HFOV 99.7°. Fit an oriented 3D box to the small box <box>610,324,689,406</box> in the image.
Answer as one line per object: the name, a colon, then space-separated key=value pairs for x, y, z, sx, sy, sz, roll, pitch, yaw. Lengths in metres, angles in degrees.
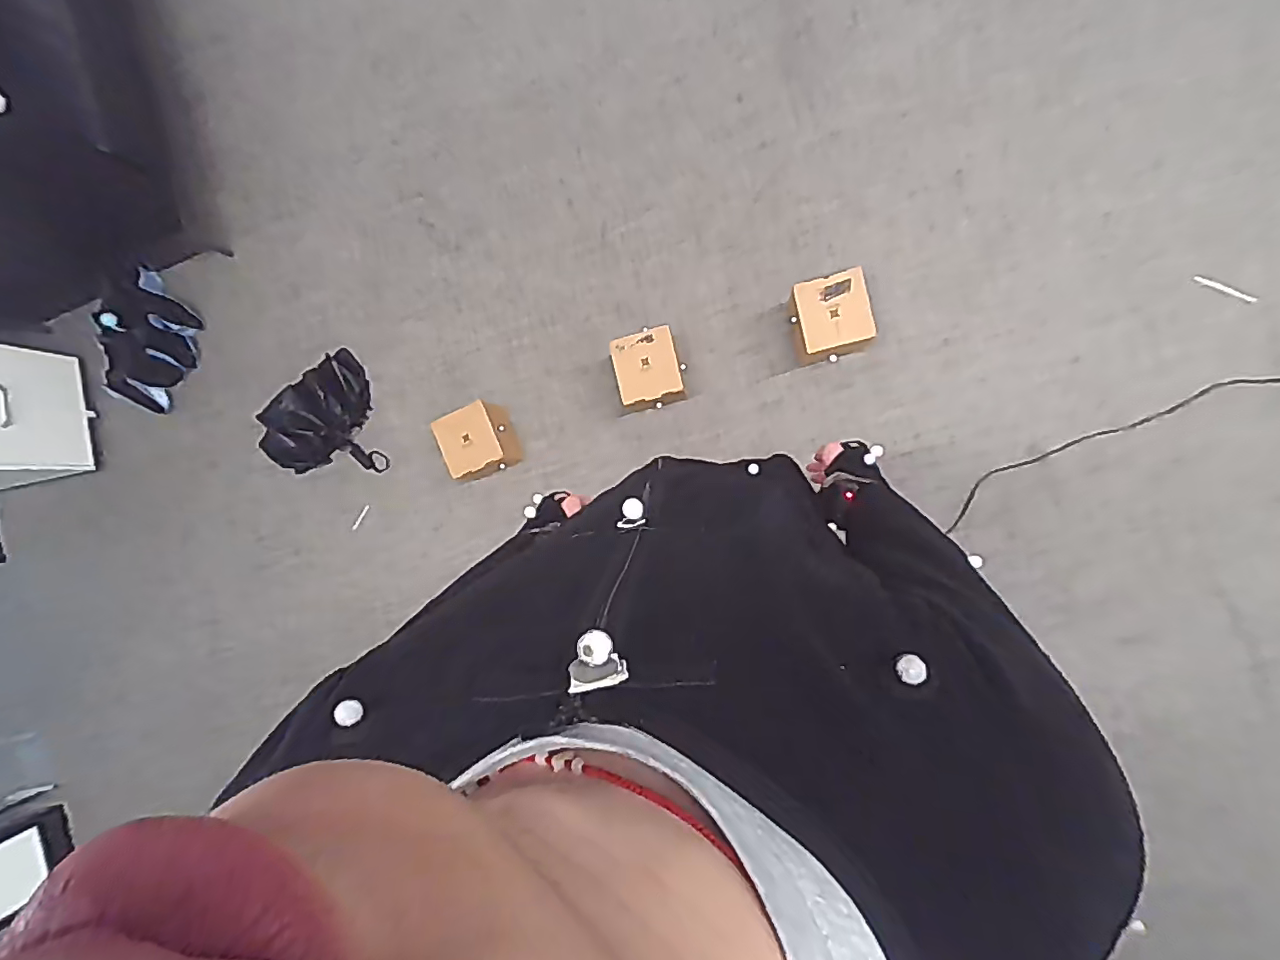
small box: x=0.033 y=-0.305 z=1.483 sx=0.168 sy=0.176 sz=0.179 roll=-14 pitch=89 yaw=11

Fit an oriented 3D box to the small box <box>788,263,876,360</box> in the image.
small box: x=0.485 y=-0.424 z=1.391 sx=0.168 sy=0.176 sz=0.179 roll=-13 pitch=90 yaw=12
